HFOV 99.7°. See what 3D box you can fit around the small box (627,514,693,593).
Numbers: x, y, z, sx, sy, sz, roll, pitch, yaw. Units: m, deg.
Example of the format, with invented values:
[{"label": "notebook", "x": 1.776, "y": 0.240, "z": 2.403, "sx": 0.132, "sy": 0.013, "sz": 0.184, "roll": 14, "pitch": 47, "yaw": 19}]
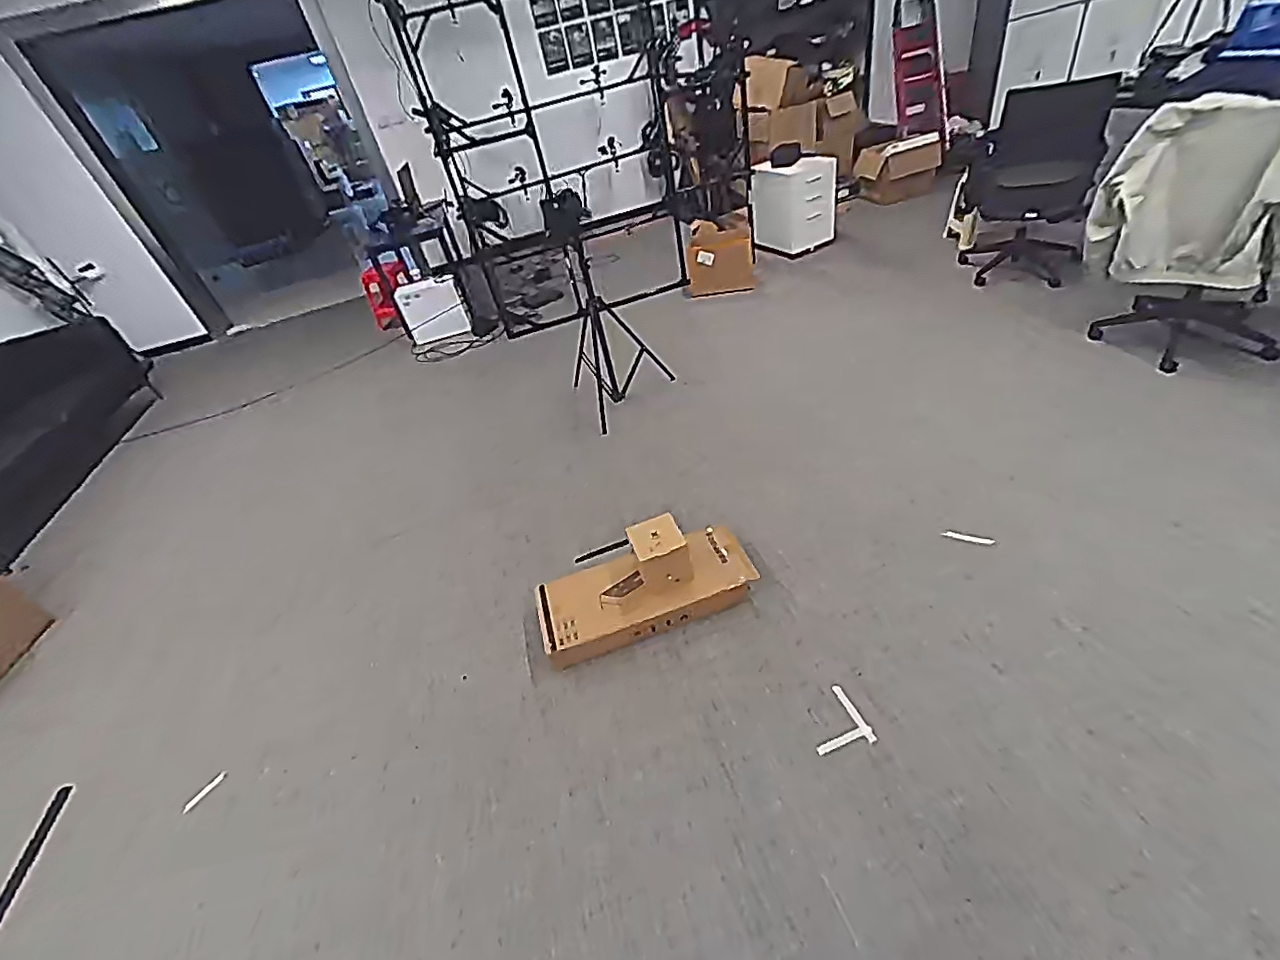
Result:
[{"label": "small box", "x": 0.067, "y": 0.250, "z": 1.833, "sx": 0.168, "sy": 0.176, "sz": 0.179, "roll": -20, "pitch": 38, "yaw": -7}]
